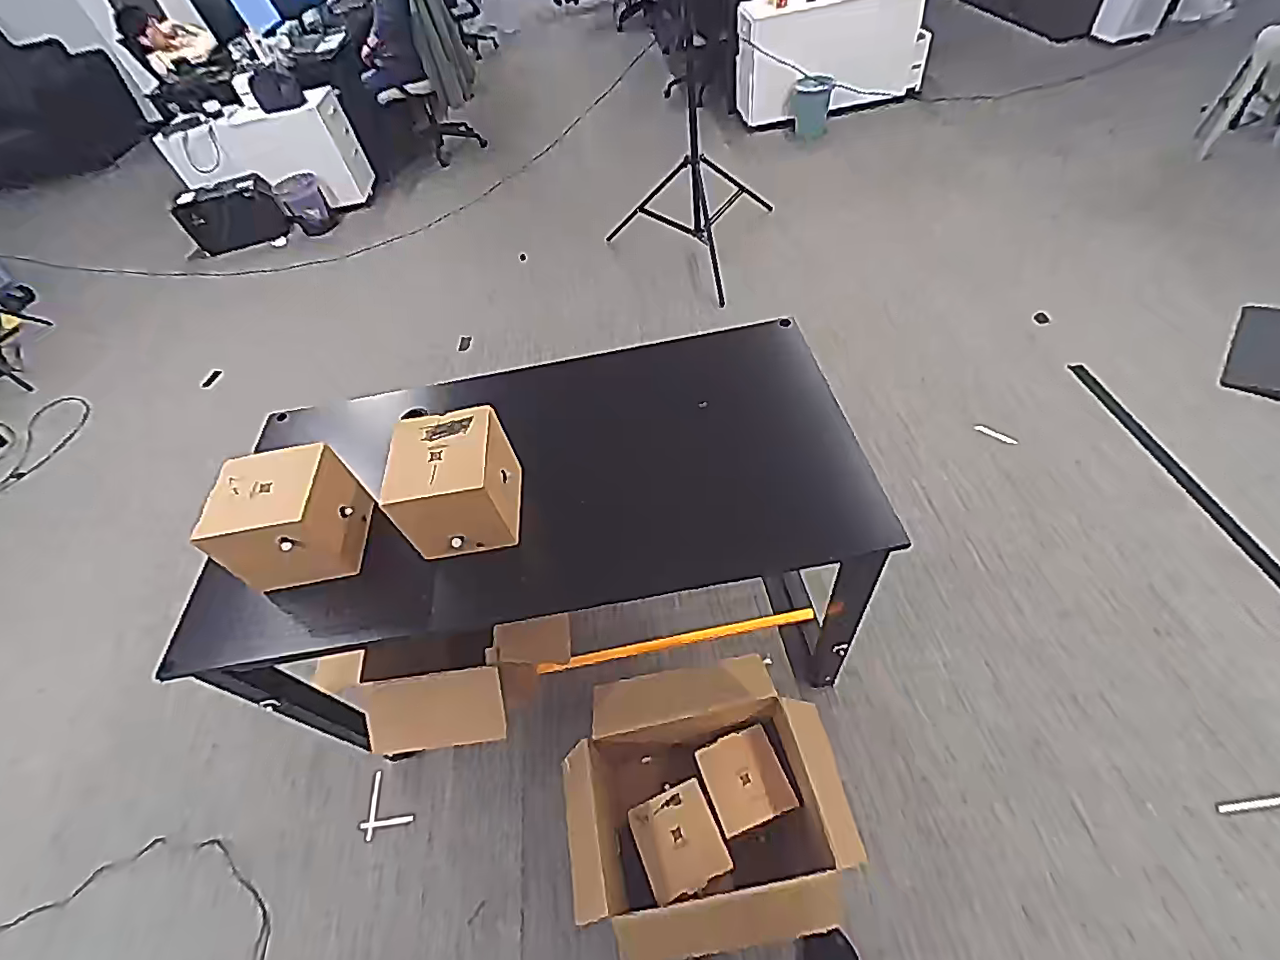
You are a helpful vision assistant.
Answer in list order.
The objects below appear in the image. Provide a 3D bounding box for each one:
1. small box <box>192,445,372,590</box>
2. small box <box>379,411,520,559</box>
[{"bbox_3d":[-0.590,0.067,0.921,0.179,0.176,0.168,-11,51,1],"label":"small box"},{"bbox_3d":[-0.310,0.011,0.921,0.168,0.176,0.179,-10,52,2],"label":"small box"}]
